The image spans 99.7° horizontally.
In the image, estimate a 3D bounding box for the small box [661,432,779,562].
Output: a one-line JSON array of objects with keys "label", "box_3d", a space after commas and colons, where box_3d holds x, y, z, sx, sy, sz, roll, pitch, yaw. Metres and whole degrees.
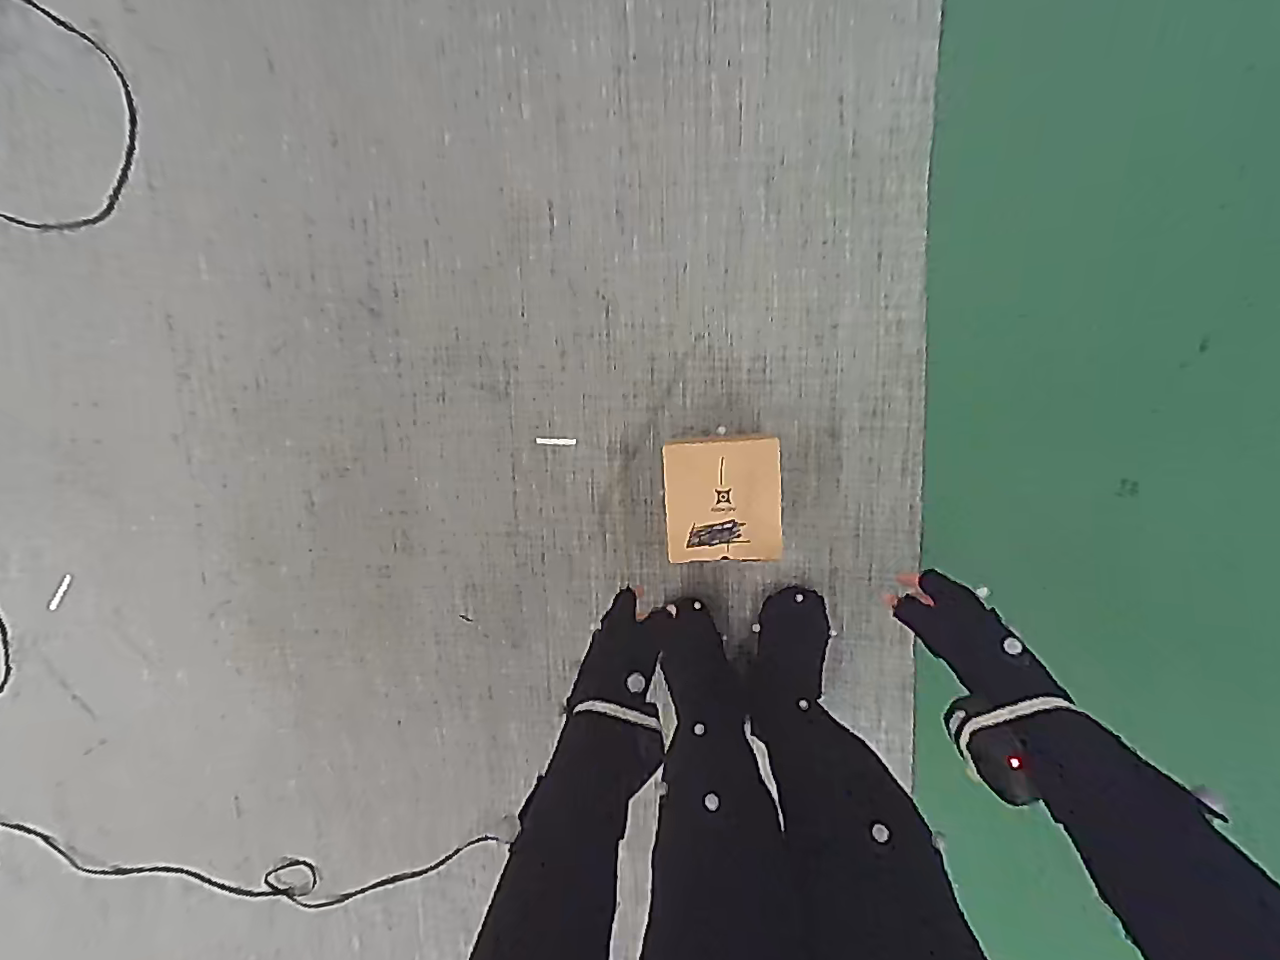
[{"label": "small box", "box_3d": [0.123, 0.020, 0.842, 0.168, 0.176, 0.179, -2, 97, 7]}]
